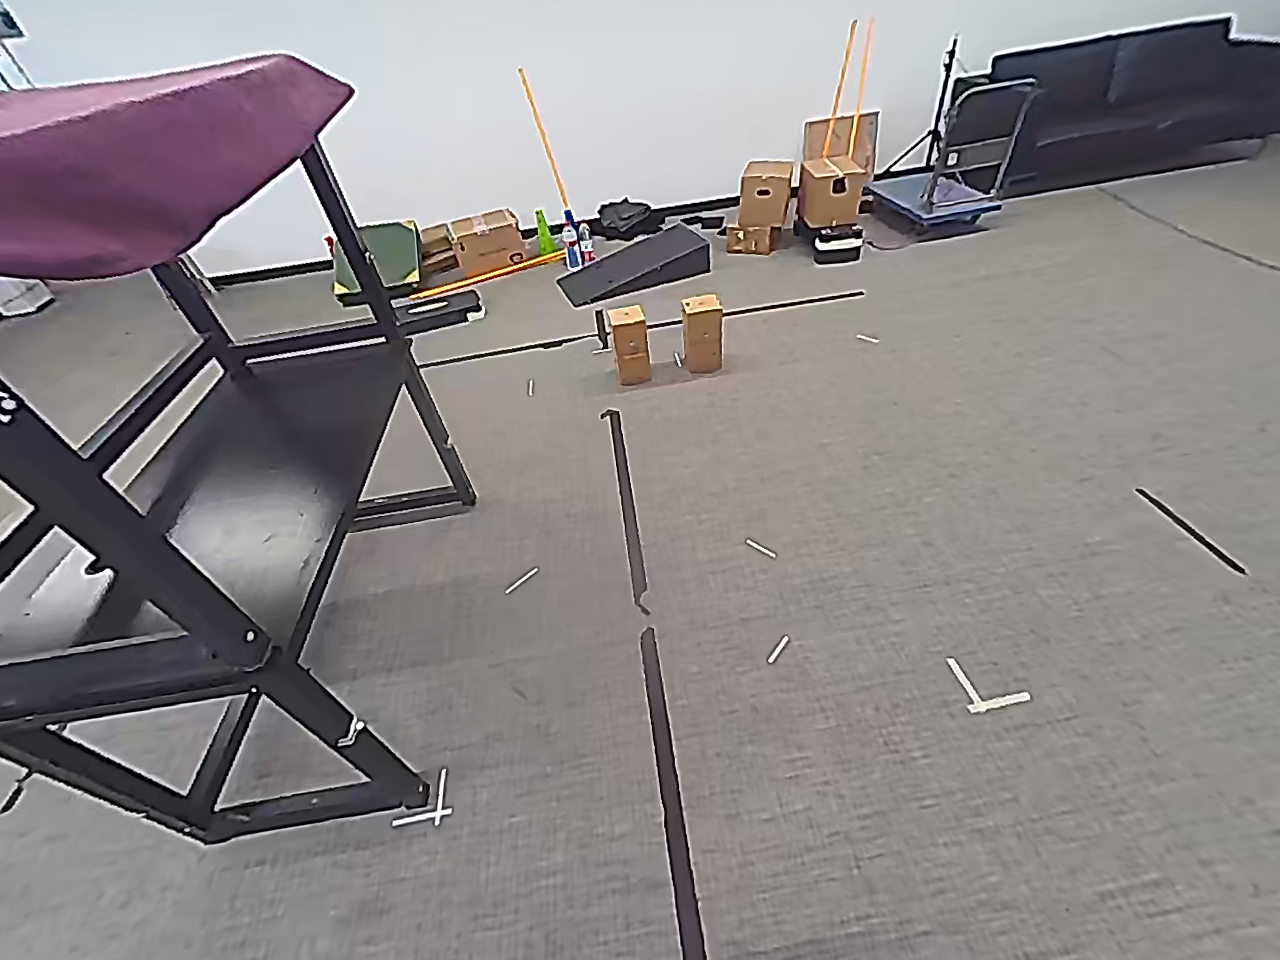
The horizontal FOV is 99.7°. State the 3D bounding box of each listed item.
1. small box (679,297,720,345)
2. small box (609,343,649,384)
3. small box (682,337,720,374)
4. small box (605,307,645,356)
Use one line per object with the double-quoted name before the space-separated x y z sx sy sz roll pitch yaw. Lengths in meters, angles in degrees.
"small box" 0.296 -0.795 2.703 0.179 0.176 0.168 -8 41 -1
"small box" -0.057 -0.611 2.794 0.168 0.176 0.179 -13 42 -6
"small box" 0.313 -0.673 2.811 0.179 0.176 0.168 -8 42 0
"small box" -0.073 -0.738 2.690 0.168 0.176 0.179 -12 43 -4
